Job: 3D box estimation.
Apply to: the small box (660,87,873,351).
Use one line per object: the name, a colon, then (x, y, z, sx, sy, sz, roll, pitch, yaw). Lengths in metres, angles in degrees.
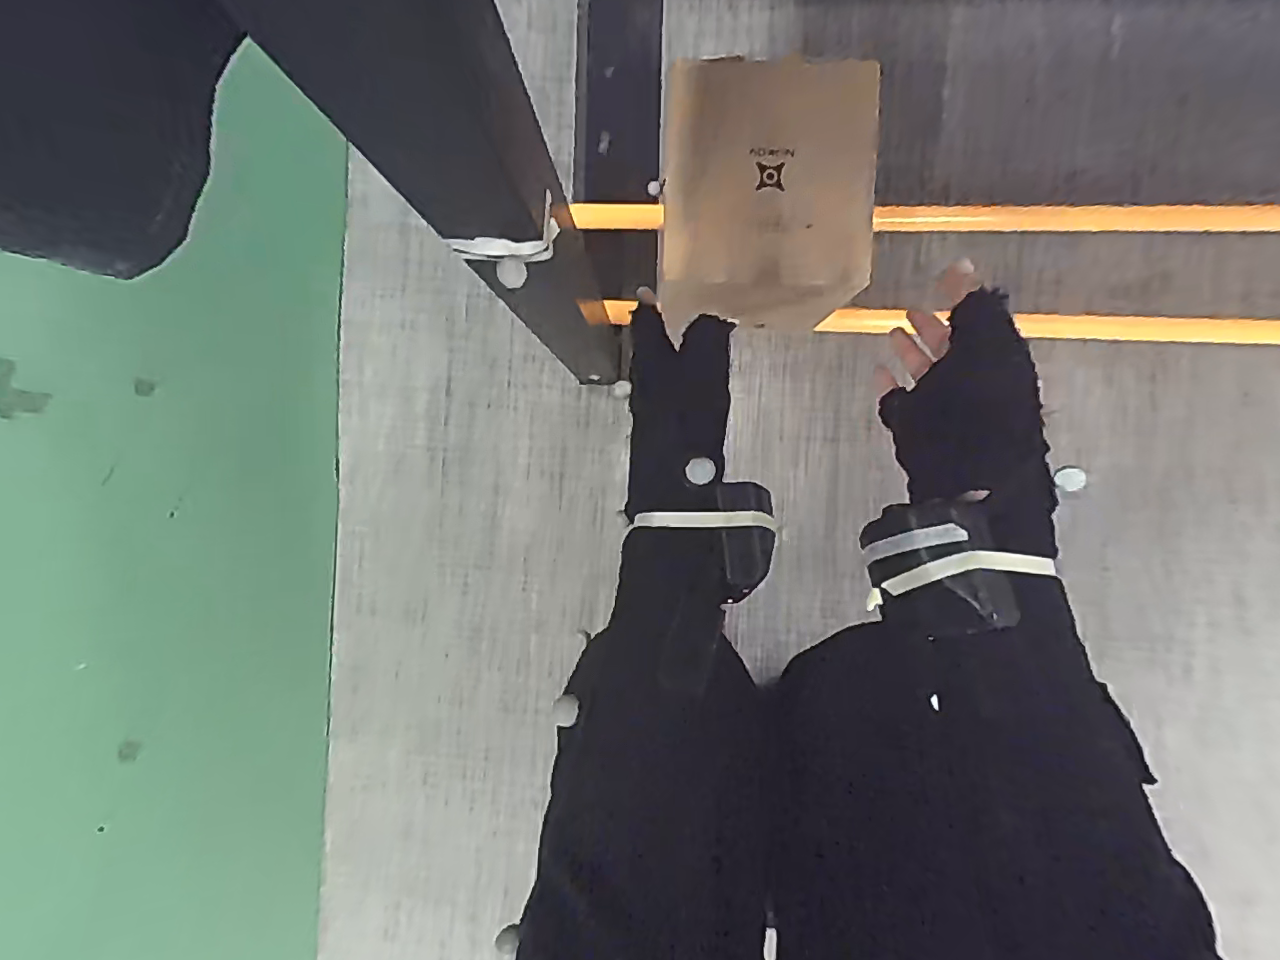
small box: (0.105, -0.230, 0.516, 0.168, 0.176, 0.179, 1, 92, 2)
